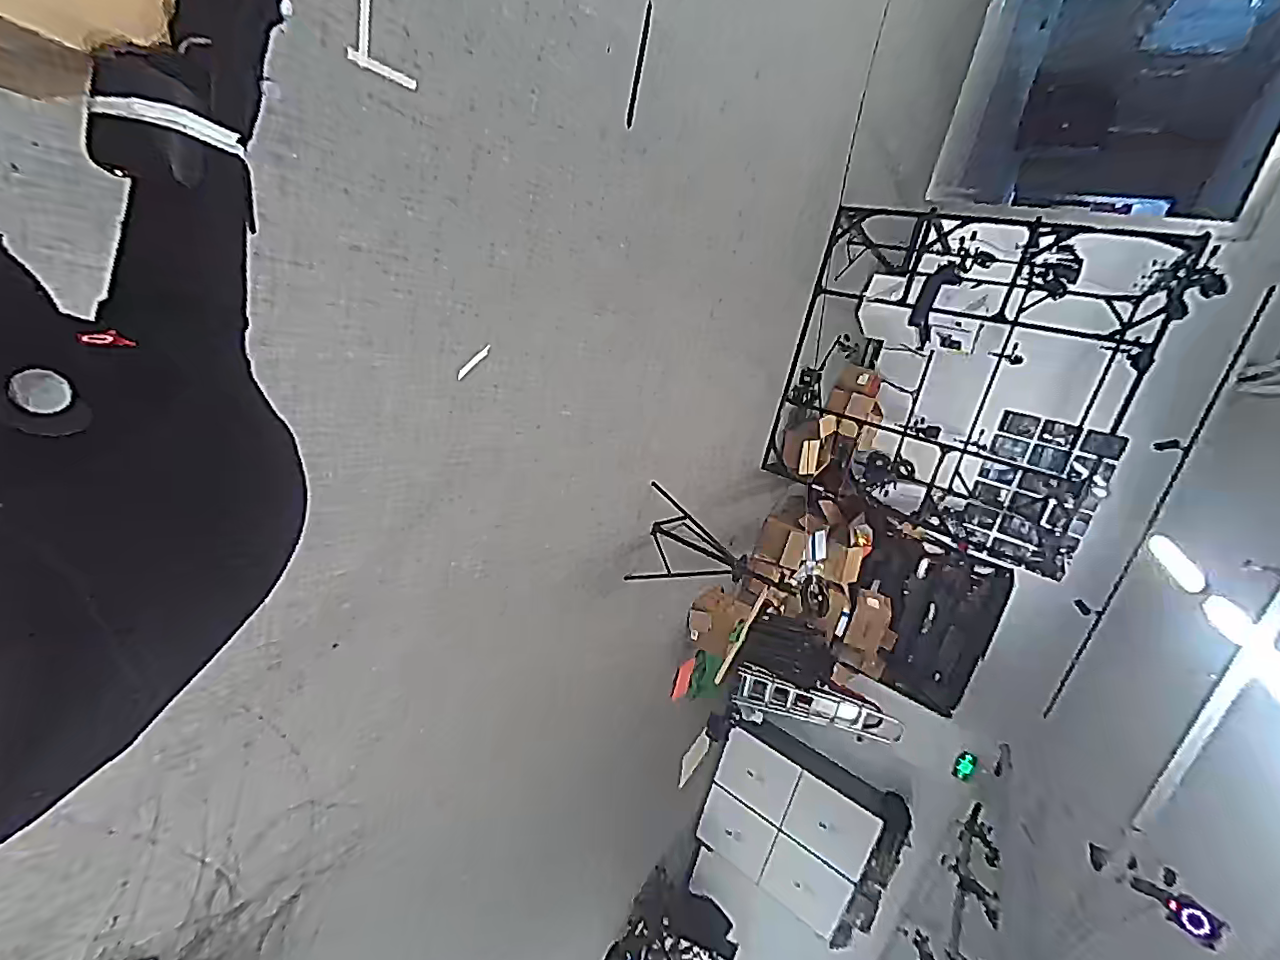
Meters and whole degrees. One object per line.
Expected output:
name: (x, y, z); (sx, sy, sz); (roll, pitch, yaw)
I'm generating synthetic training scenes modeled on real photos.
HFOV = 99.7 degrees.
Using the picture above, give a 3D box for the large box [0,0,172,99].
large box: (-0.520, -0.445, 0.246); (0.408, 0.320, 0.320); (-6, 115, -59)
